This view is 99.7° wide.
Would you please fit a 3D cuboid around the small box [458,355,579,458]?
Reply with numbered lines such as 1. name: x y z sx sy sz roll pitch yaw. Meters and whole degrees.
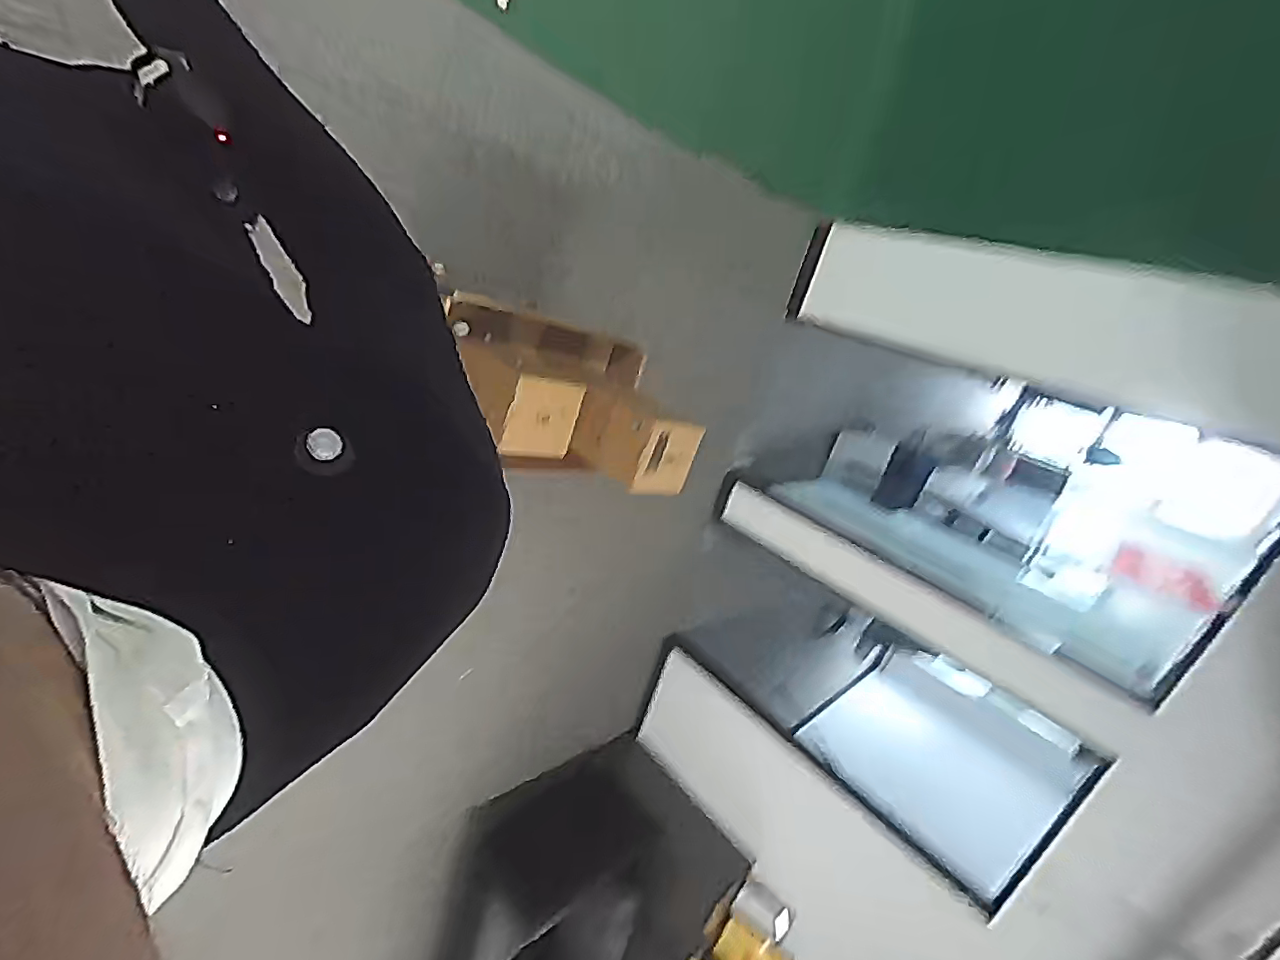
1. small box: -0.269 -0.161 1.178 0.179 0.176 0.168 2 115 -49

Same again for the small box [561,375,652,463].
1. small box: -0.108 -0.154 1.368 0.179 0.176 0.168 2 115 -46

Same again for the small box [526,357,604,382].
1. small box: -0.213 -0.224 1.470 0.179 0.176 0.168 2 113 -47
